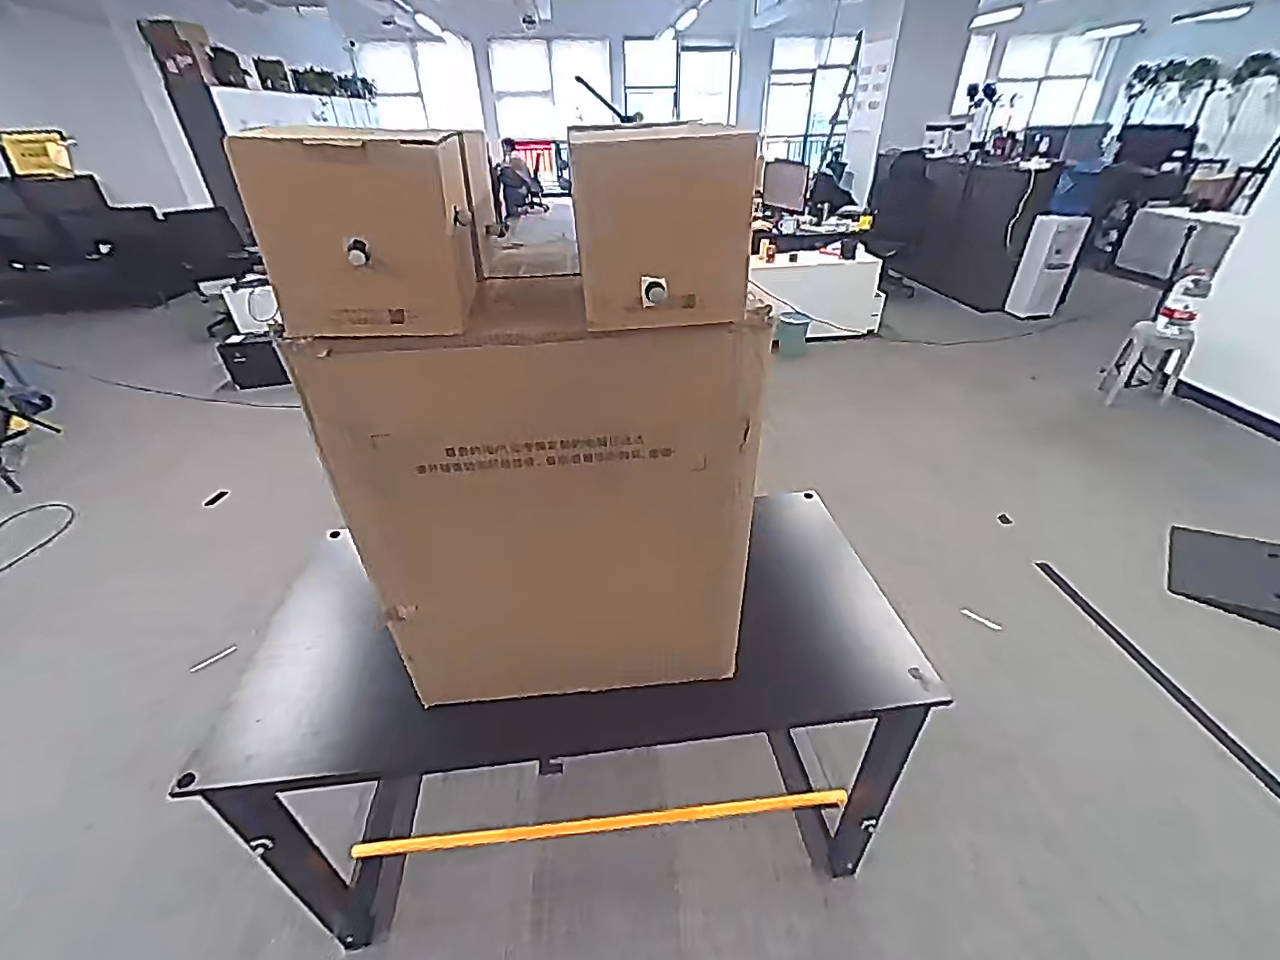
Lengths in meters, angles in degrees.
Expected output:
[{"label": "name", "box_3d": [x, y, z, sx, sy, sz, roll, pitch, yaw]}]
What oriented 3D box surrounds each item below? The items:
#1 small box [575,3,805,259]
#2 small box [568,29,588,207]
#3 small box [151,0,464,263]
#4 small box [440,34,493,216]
[{"label": "small box", "box_3d": [0.031, -0.310, 0.492, 0.168, 0.176, 0.179, -7, 37, -4]}, {"label": "small box", "box_3d": [0.000, -0.437, 0.671, 0.168, 0.176, 0.179, -6, 32, -5]}, {"label": "small box", "box_3d": [-0.253, -0.296, 0.472, 0.168, 0.176, 0.179, -4, 37, -10]}, {"label": "small box", "box_3d": [-0.283, -0.409, 0.640, 0.179, 0.176, 0.168, -2, 33, -4]}]
